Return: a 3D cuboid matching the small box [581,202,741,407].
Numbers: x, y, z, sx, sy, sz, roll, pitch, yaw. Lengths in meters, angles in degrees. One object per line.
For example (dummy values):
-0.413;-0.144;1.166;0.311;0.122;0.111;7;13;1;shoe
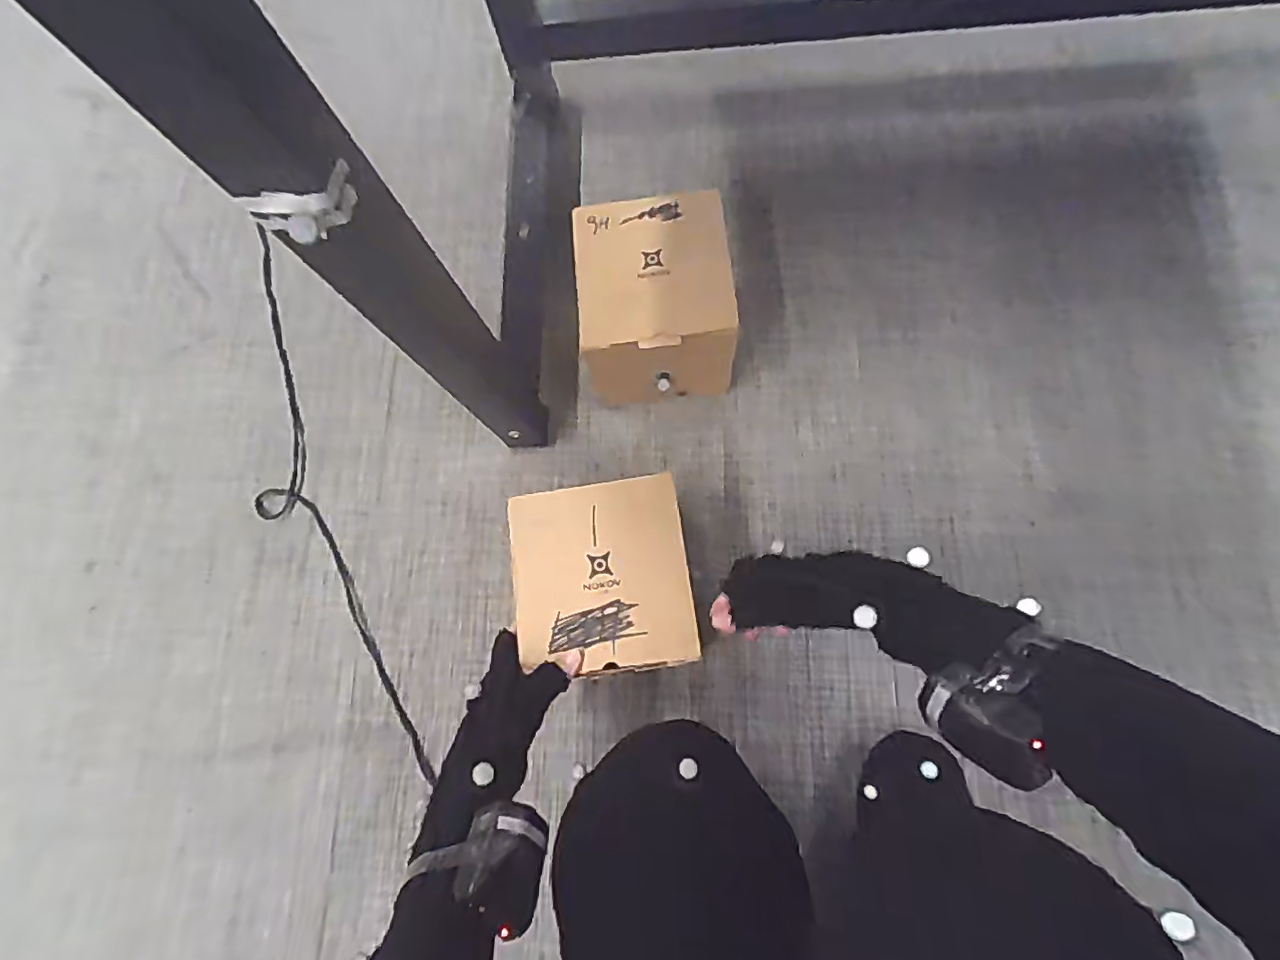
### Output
0.027;-0.196;0.656;0.168;0.176;0.179;-5;76;3;small box
